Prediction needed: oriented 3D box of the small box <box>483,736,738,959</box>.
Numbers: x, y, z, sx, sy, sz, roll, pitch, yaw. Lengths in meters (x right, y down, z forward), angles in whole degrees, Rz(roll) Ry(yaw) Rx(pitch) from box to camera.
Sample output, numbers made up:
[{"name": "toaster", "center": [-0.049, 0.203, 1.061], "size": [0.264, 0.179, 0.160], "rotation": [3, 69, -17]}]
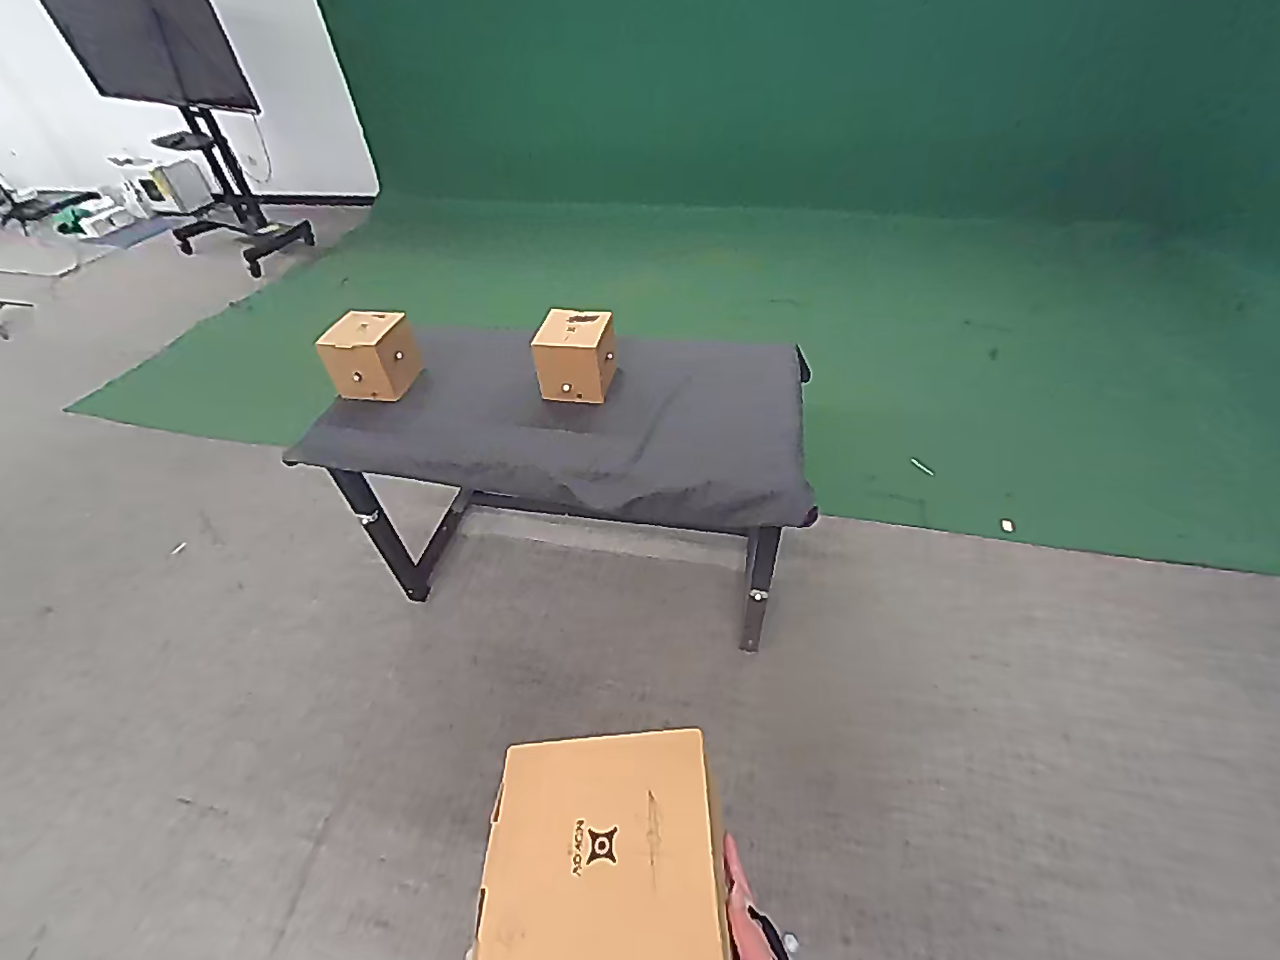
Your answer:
[{"name": "small box", "center": [-0.013, 0.348, 0.469], "size": [0.179, 0.176, 0.168], "rotation": [-7, 41, 5]}]

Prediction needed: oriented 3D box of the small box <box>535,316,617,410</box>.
[{"name": "small box", "center": [-0.158, -0.306, 1.413], "size": [0.168, 0.176, 0.179], "rotation": [6, 46, 9]}]

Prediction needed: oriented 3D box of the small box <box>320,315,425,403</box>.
[{"name": "small box", "center": [-0.707, -0.324, 1.459], "size": [0.168, 0.176, 0.179], "rotation": [5, 45, 7]}]
